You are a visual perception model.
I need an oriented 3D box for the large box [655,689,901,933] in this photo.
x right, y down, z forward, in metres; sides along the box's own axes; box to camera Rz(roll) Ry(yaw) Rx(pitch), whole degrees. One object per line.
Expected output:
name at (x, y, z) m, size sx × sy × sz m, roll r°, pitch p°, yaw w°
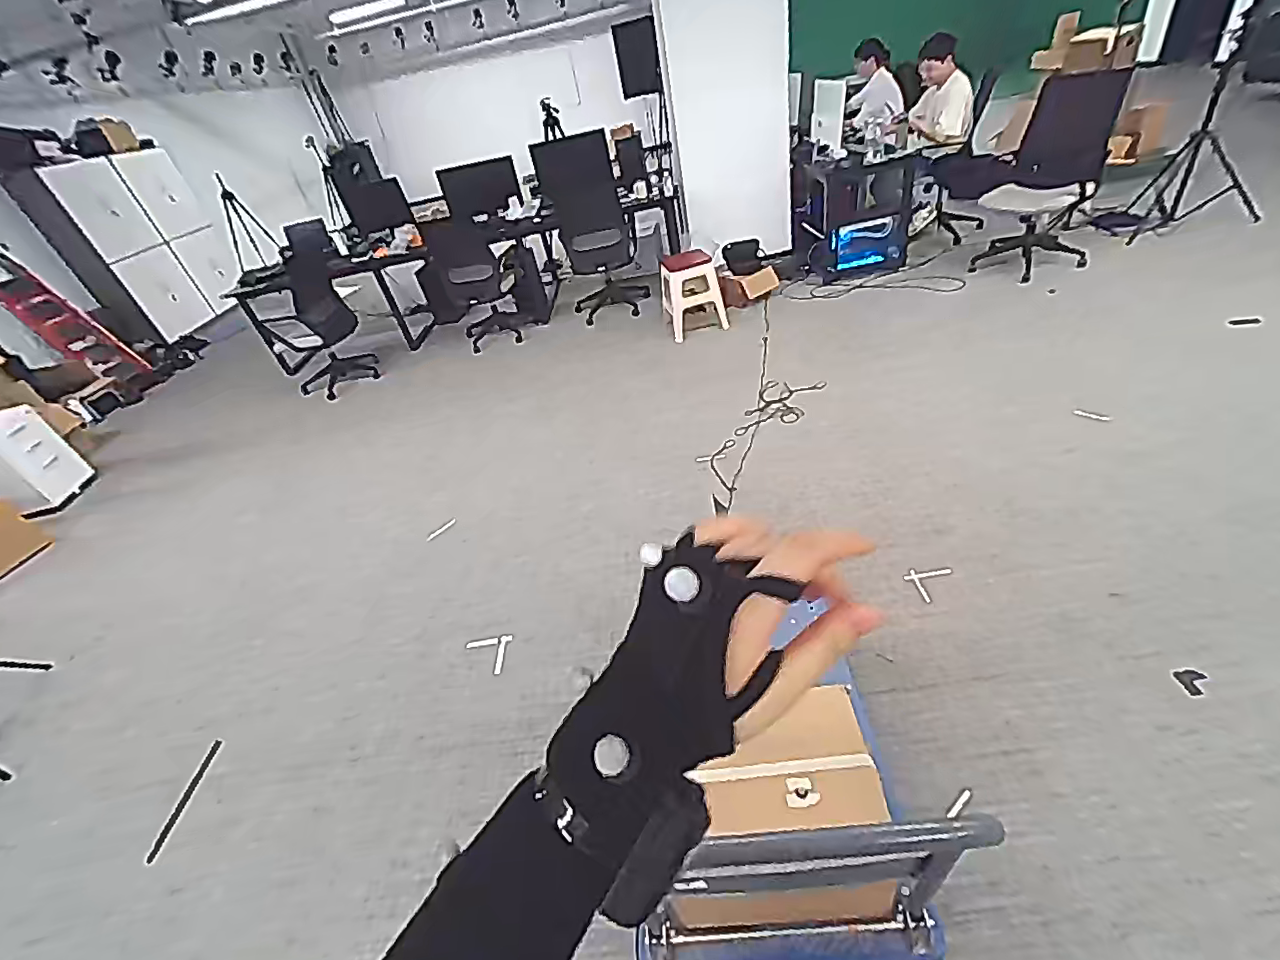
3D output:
large box at (0.256, 0.673, 1.102) m, size 0.408 × 0.320 × 0.320 m, roll -9°, pitch 37°, yaw 6°
